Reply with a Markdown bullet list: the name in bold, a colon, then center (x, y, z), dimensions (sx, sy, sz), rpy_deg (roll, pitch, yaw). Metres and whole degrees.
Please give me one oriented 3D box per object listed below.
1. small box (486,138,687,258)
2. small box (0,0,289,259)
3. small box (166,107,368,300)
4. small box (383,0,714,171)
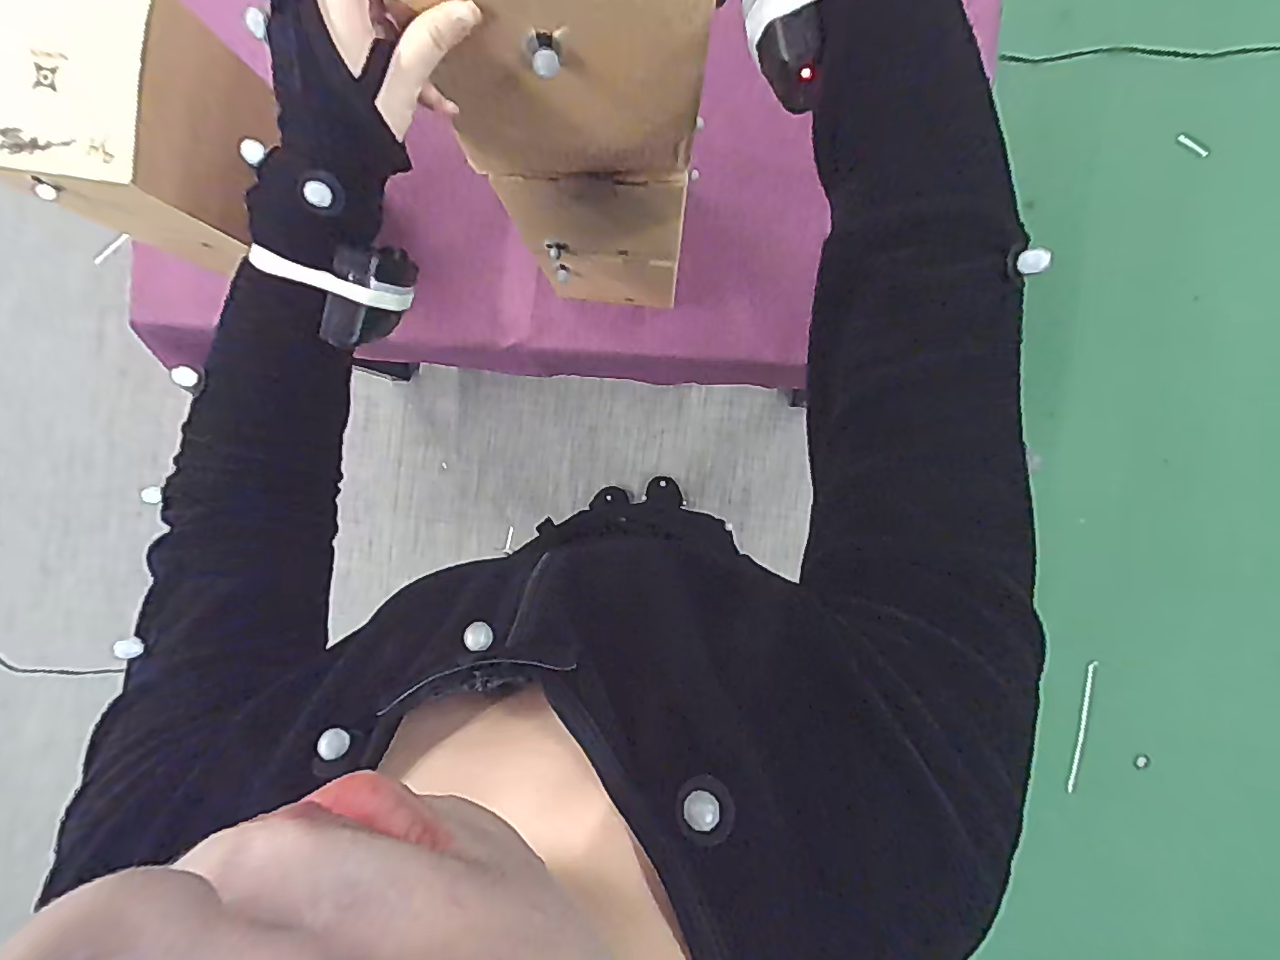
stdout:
- **small box**: center (-0.038, -0.332, 0.522), dimensions (0.168, 0.176, 0.179), rpy_deg (4, 91, 2)
- **small box**: center (-0.488, -0.348, 0.537), dimensions (0.168, 0.176, 0.179), rpy_deg (9, 92, 3)
- **small box**: center (-0.481, -0.355, 0.702), dimensions (0.168, 0.176, 0.179), rpy_deg (9, 93, 2)
- **small box**: center (-0.046, -0.330, 0.357), dimensions (0.179, 0.176, 0.168), rpy_deg (-1, 90, 2)
